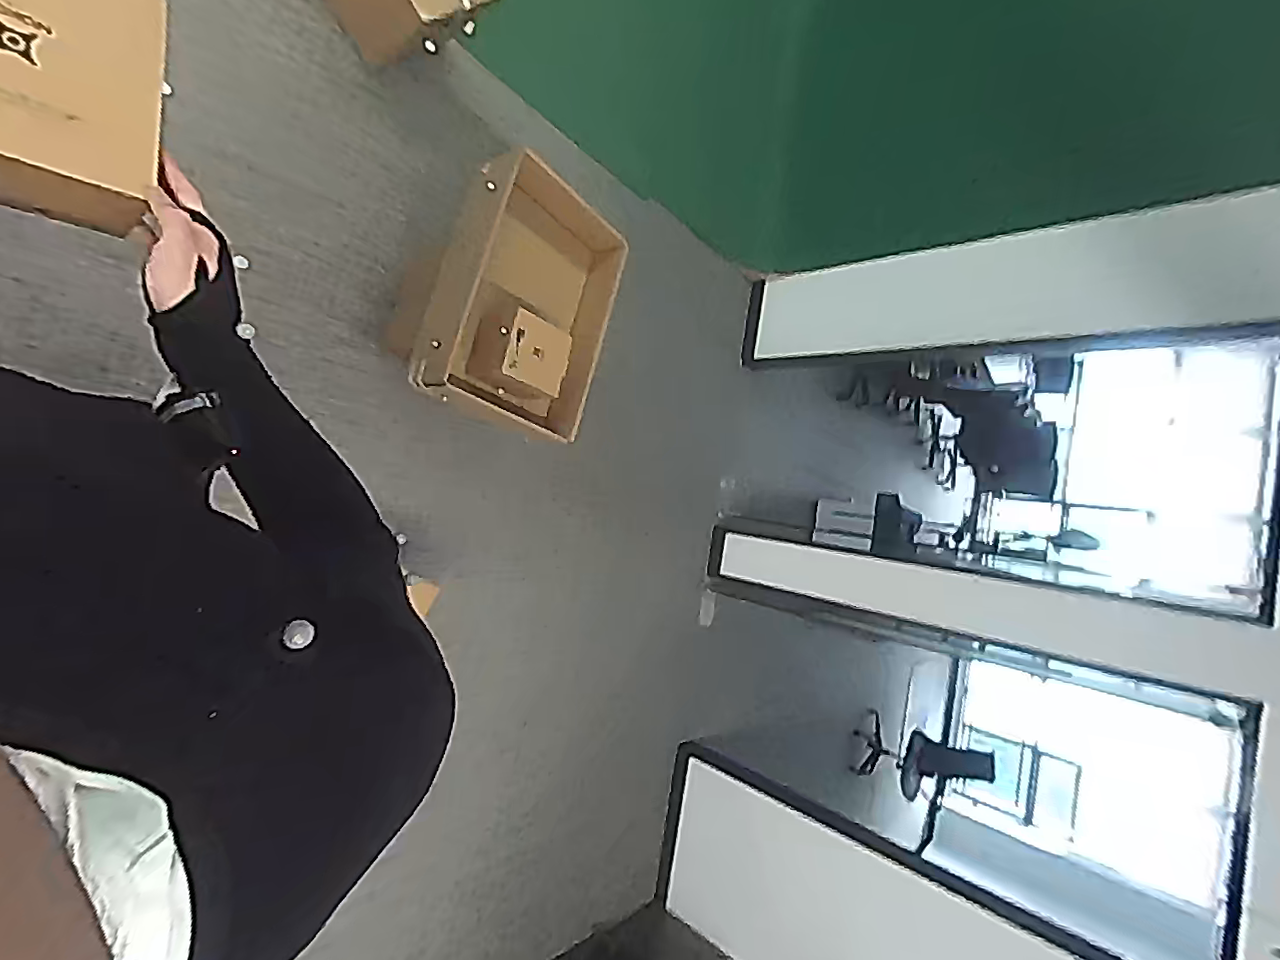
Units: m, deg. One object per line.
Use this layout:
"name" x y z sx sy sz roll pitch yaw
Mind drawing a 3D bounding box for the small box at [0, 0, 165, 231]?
"small box" -0.517 -0.332 0.442 0.168 0.176 0.179 2 95 -50
